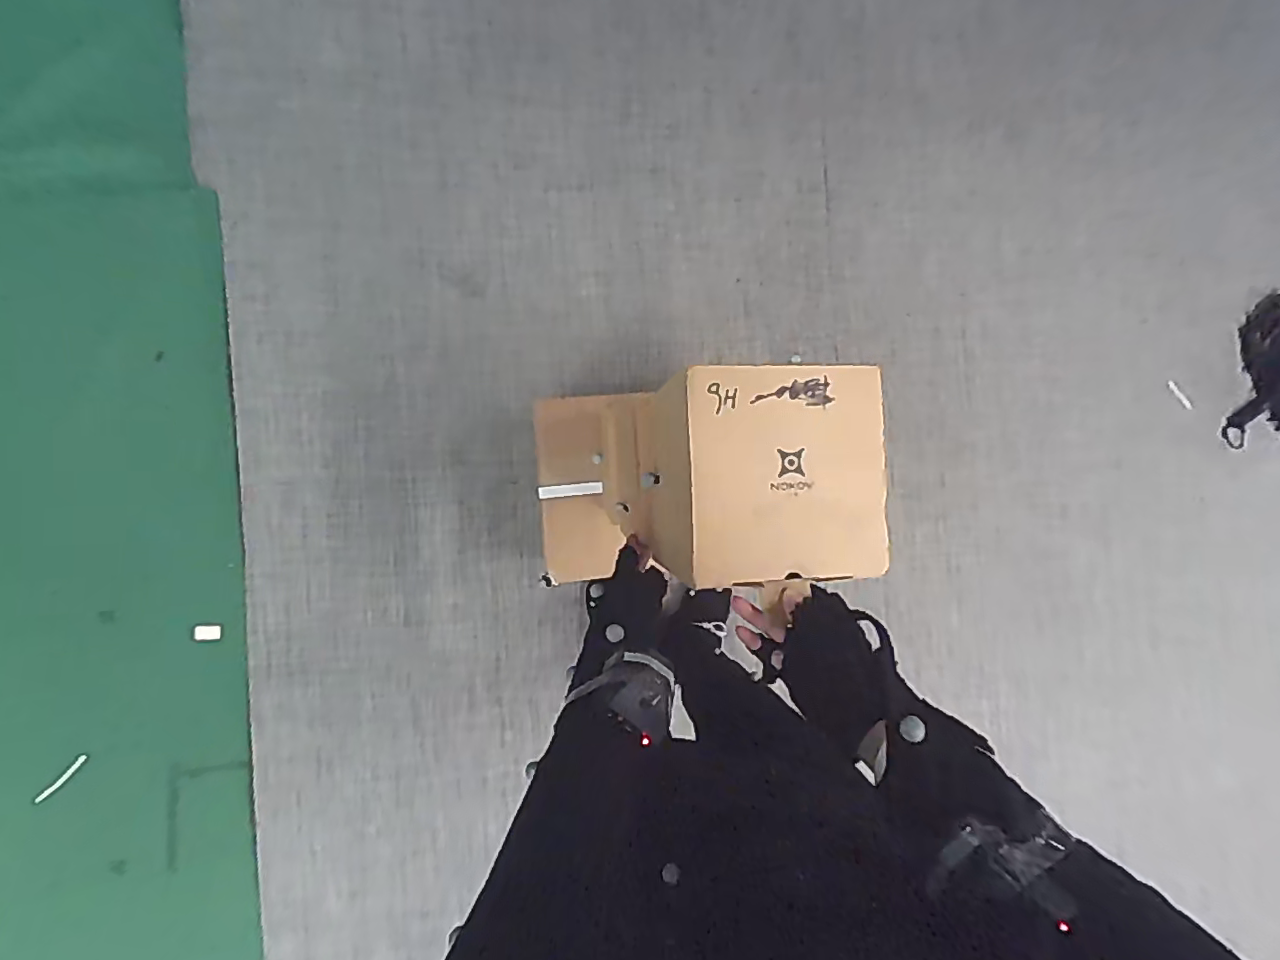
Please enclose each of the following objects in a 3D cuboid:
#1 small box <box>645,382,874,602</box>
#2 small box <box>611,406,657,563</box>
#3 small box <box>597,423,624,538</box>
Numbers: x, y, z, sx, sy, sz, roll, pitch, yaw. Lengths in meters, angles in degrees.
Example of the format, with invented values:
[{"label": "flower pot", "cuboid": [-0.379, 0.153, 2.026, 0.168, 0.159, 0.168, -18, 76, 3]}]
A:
[{"label": "small box", "cuboid": [0.100, 0.006, 0.516, 0.168, 0.176, 0.179, -3, 91, -9]}, {"label": "small box", "cuboid": [0.058, -0.004, 0.681, 0.168, 0.176, 0.179, -6, 93, -9]}, {"label": "small box", "cuboid": [0.034, -0.015, 0.841, 0.179, 0.176, 0.168, -7, 95, -9]}]
